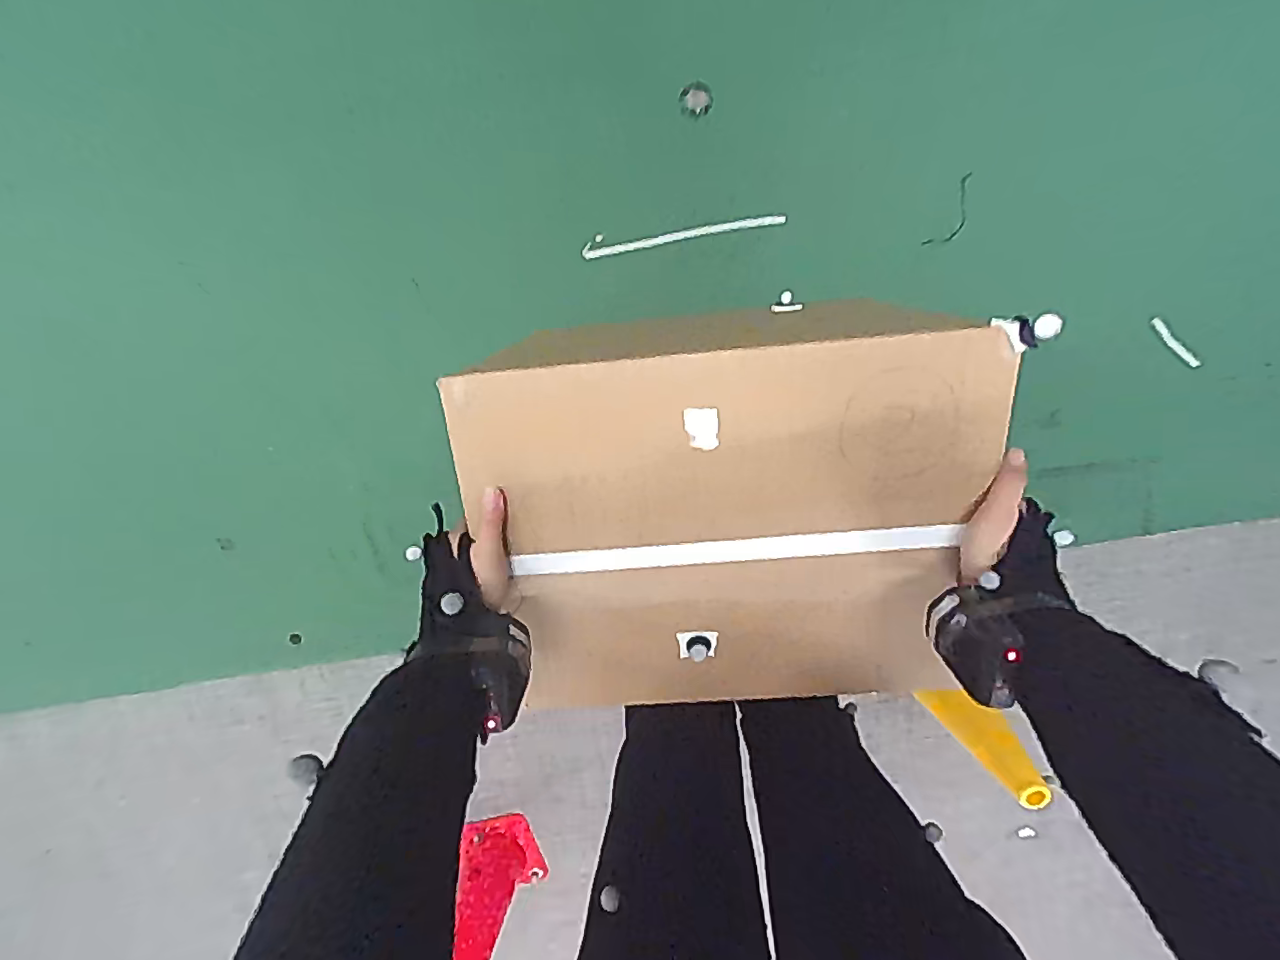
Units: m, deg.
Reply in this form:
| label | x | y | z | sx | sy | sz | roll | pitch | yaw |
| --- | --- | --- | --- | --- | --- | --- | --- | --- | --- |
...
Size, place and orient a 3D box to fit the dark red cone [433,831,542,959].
| label | x | y | z | sx | sy | sz | roll | pitch | yaw |
| --- | --- | --- | --- | --- | --- | --- | --- | --- | --- |
| dark red cone | -0.337 | 0.896 | 1.022 | 0.202 | 0.394 | 0.201 | -17 | 103 | 7 |
